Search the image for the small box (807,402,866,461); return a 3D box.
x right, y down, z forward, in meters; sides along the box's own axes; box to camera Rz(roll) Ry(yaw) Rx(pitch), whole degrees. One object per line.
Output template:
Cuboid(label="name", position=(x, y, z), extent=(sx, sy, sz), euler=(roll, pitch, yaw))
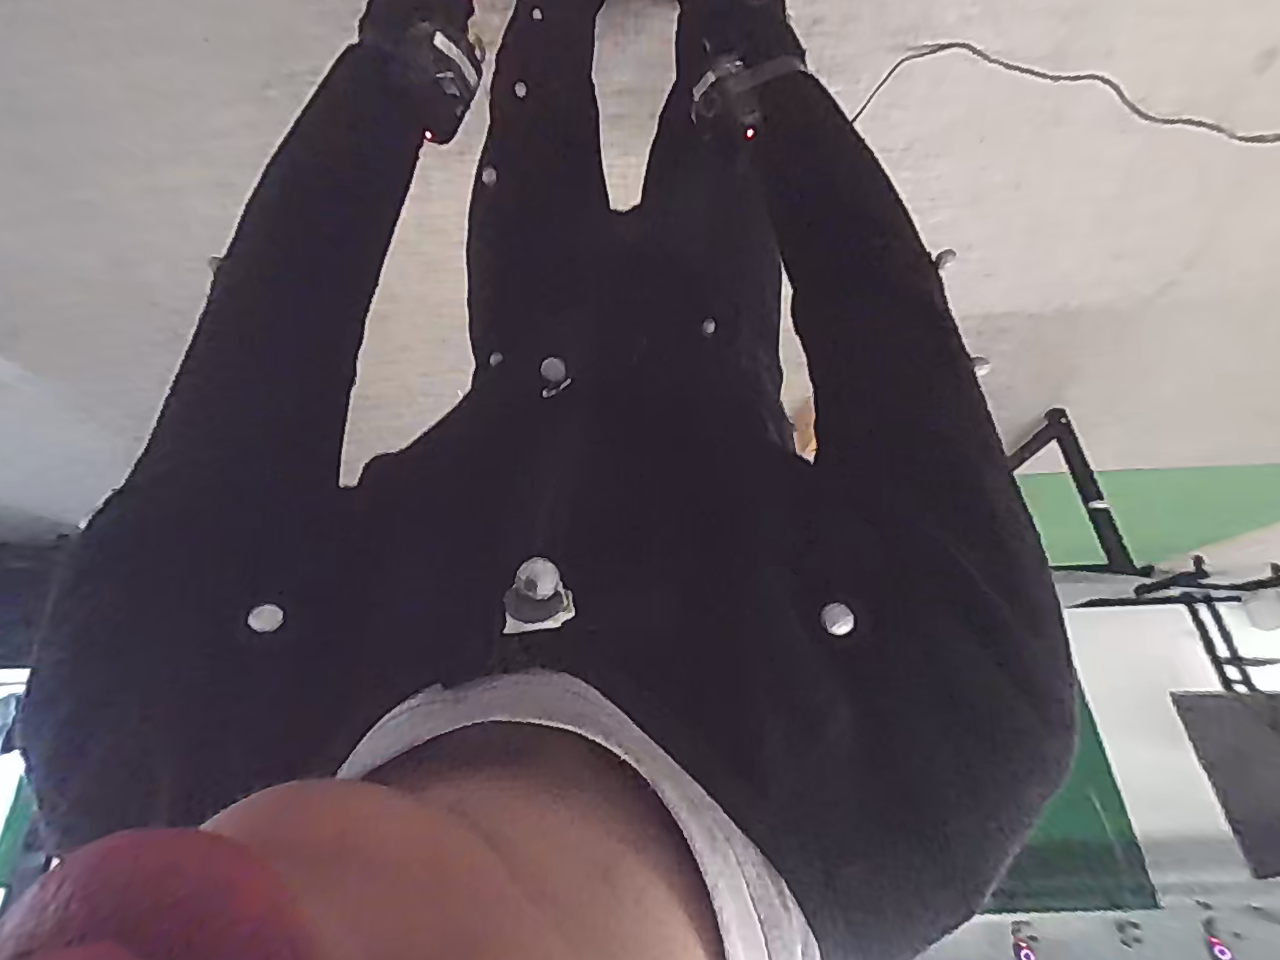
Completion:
Cuboid(label="small box", position=(0.773, -0.191, 2.148), extent=(0.168, 0.176, 0.179), euler=(1, 153, -3))
